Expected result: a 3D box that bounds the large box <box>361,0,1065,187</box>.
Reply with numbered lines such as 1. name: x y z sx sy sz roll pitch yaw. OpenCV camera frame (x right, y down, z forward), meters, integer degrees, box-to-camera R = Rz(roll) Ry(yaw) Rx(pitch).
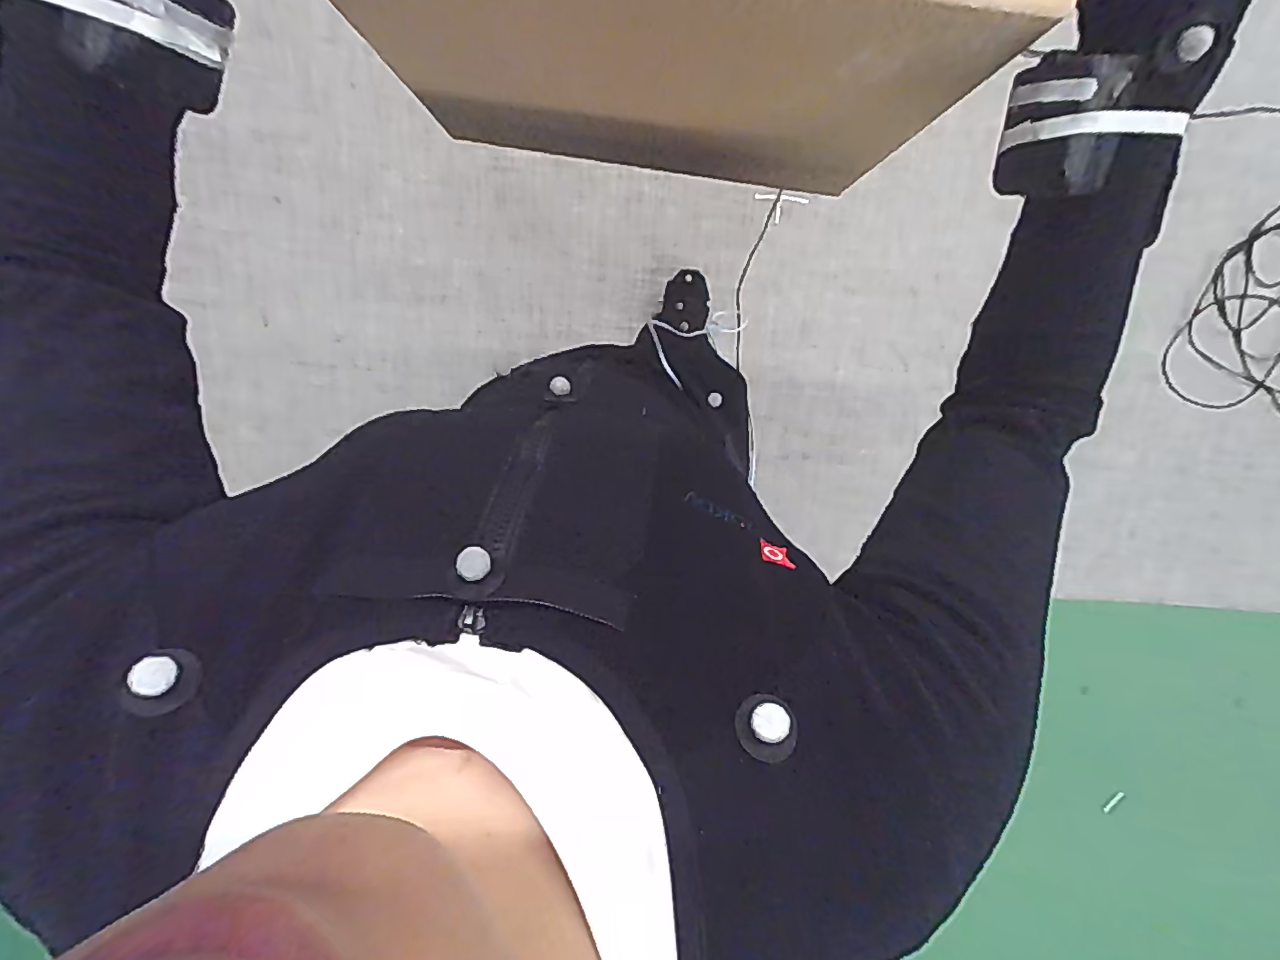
1. large box: 0.033 -0.438 0.379 0.408 0.320 0.320 7 104 -3
